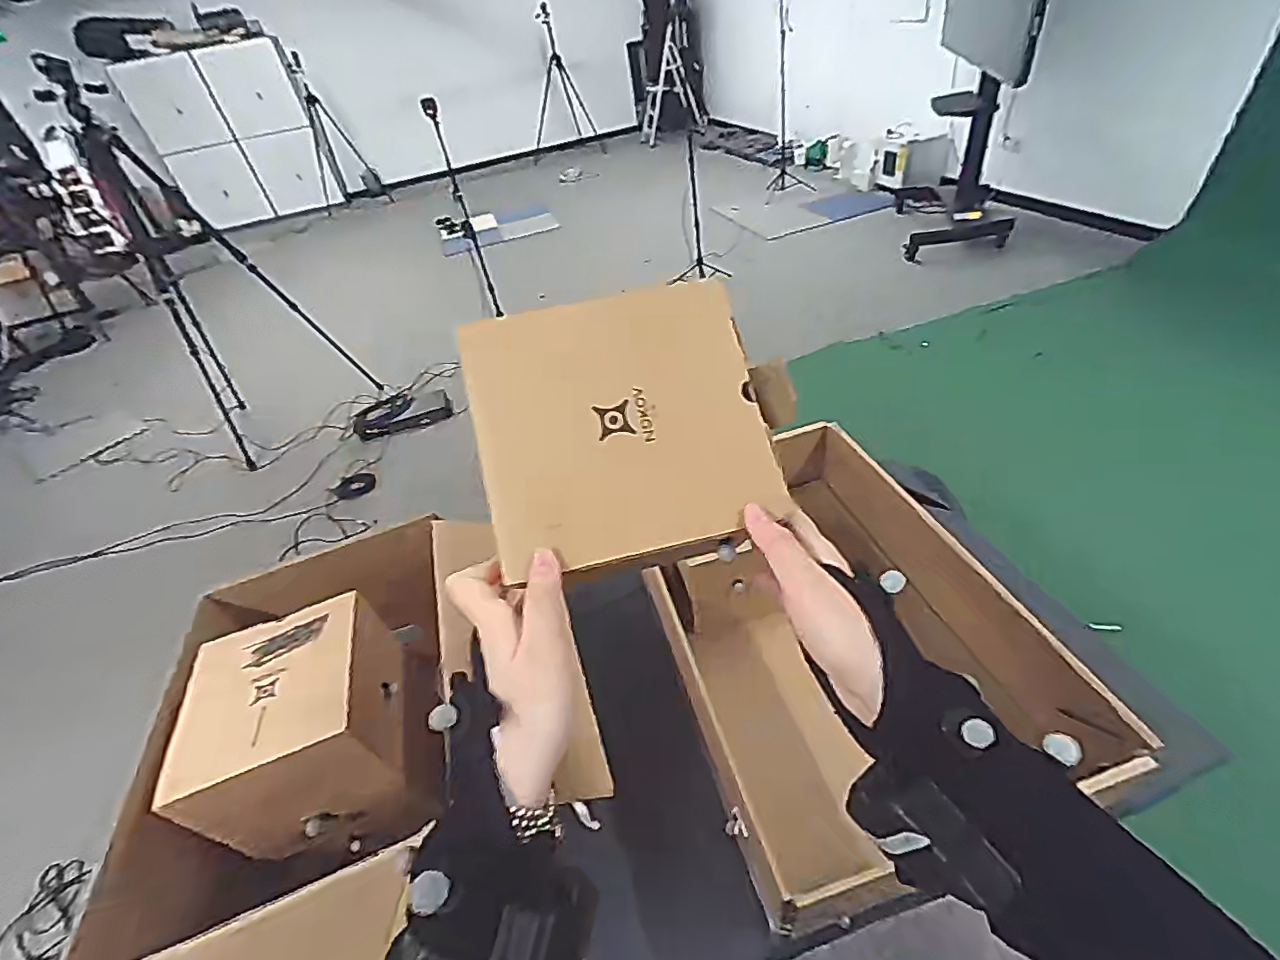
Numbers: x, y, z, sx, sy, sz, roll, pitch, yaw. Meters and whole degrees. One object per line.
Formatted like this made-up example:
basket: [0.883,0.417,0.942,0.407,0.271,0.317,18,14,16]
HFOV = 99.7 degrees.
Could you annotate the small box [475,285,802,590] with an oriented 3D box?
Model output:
small box: [-0.007,-0.016,0.410,0.179,0.176,0.168,-13,78,-6]
